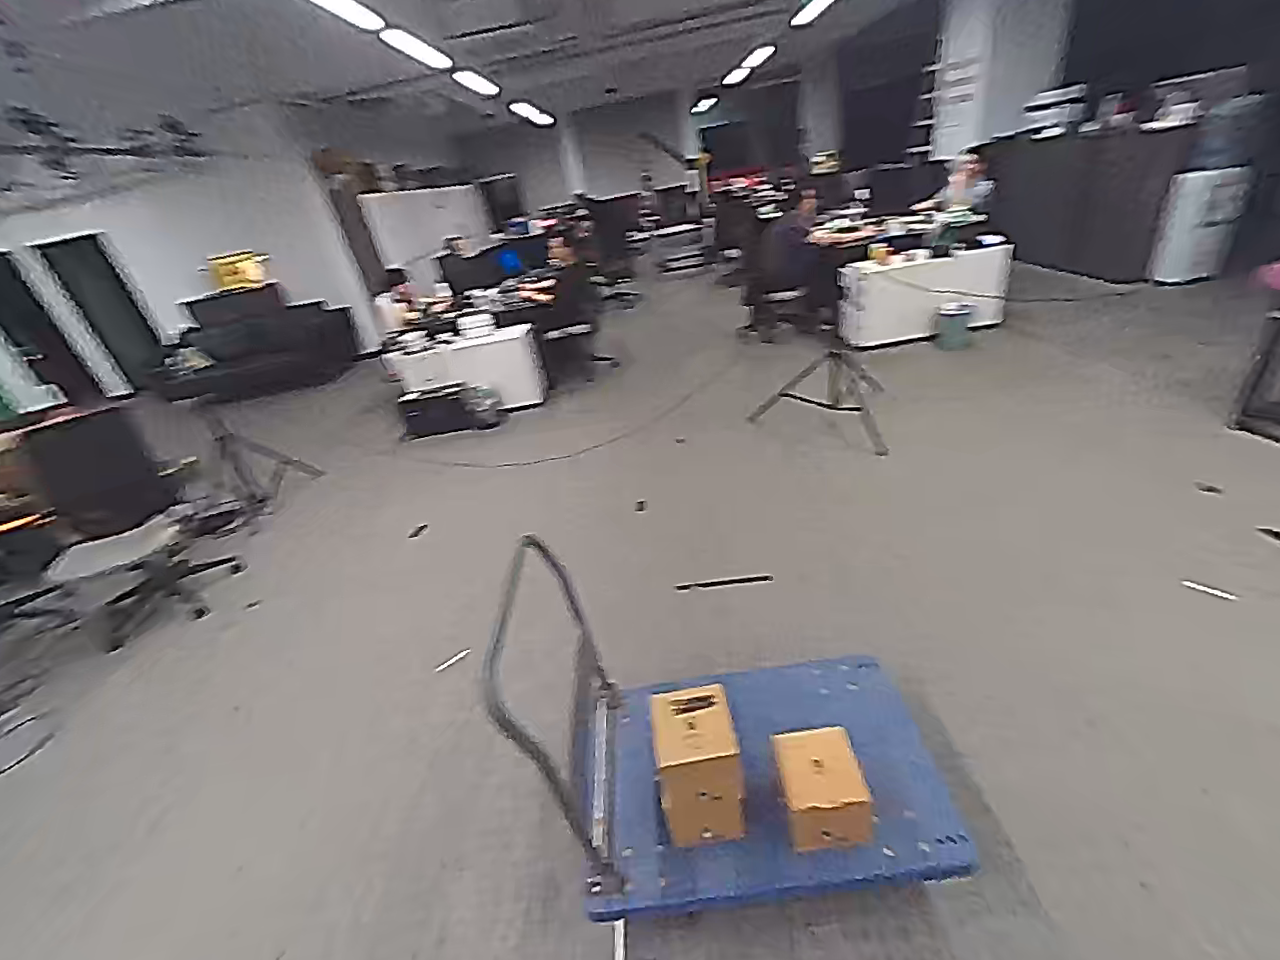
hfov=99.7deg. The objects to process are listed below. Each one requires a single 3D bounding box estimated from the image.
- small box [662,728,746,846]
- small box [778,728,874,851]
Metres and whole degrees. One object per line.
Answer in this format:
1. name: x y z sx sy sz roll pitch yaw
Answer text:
1. small box: 0.150 0.729 1.287 0.168 0.176 0.179 -11 30 3
2. small box: 0.417 0.704 1.235 0.168 0.176 0.179 -10 30 4
